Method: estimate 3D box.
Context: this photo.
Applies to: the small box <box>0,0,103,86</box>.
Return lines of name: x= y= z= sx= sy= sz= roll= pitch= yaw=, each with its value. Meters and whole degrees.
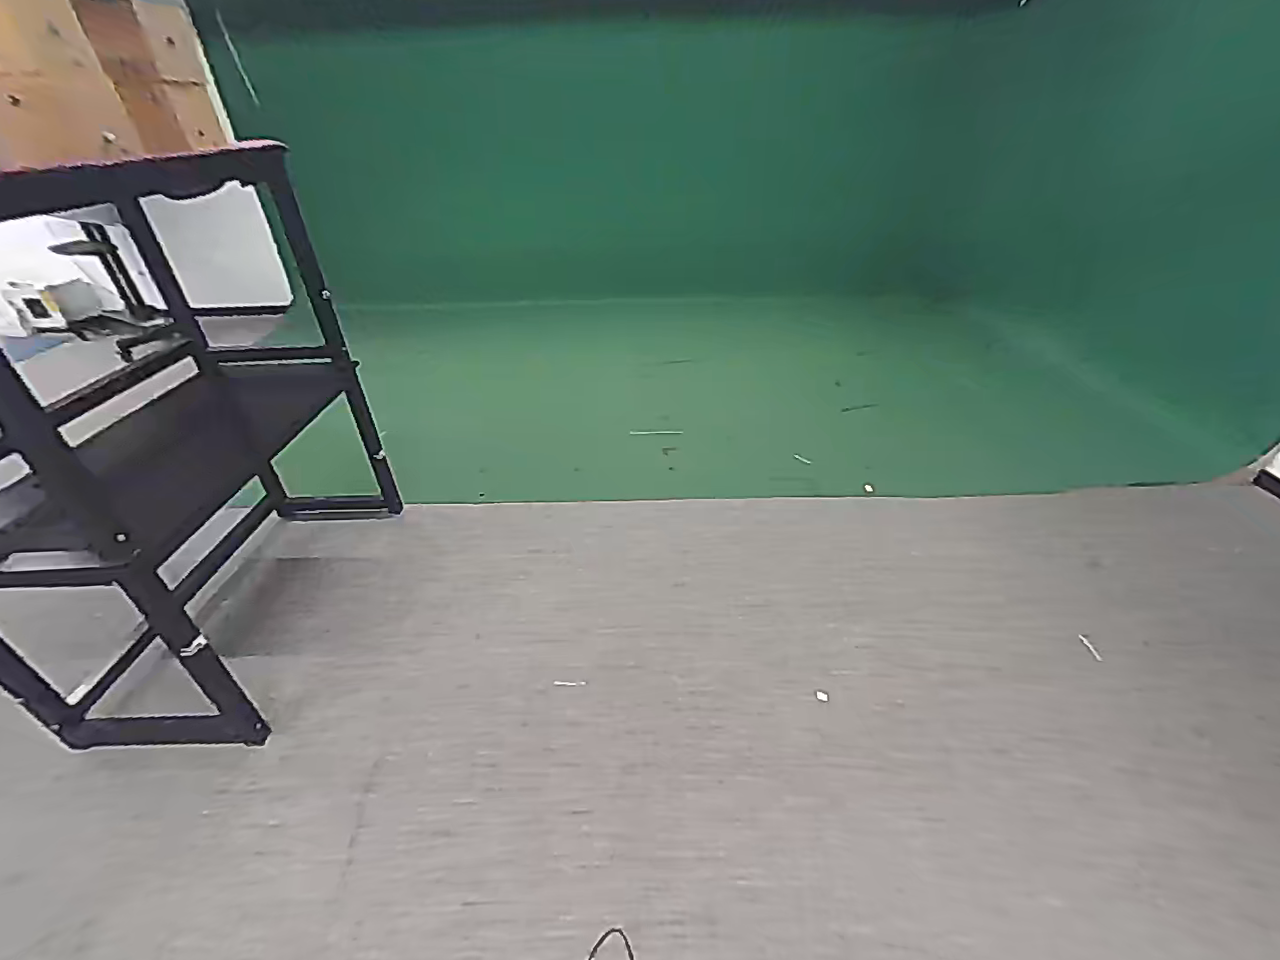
small box: x=-1.307 y=-0.923 z=1.130 sx=0.179 sy=0.176 sz=0.168 roll=-1 pitch=35 yaw=1

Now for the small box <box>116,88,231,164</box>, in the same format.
small box: x=-1.300 y=-0.981 z=1.501 sx=0.179 sy=0.176 sz=0.168 roll=0 pitch=35 yaw=1
